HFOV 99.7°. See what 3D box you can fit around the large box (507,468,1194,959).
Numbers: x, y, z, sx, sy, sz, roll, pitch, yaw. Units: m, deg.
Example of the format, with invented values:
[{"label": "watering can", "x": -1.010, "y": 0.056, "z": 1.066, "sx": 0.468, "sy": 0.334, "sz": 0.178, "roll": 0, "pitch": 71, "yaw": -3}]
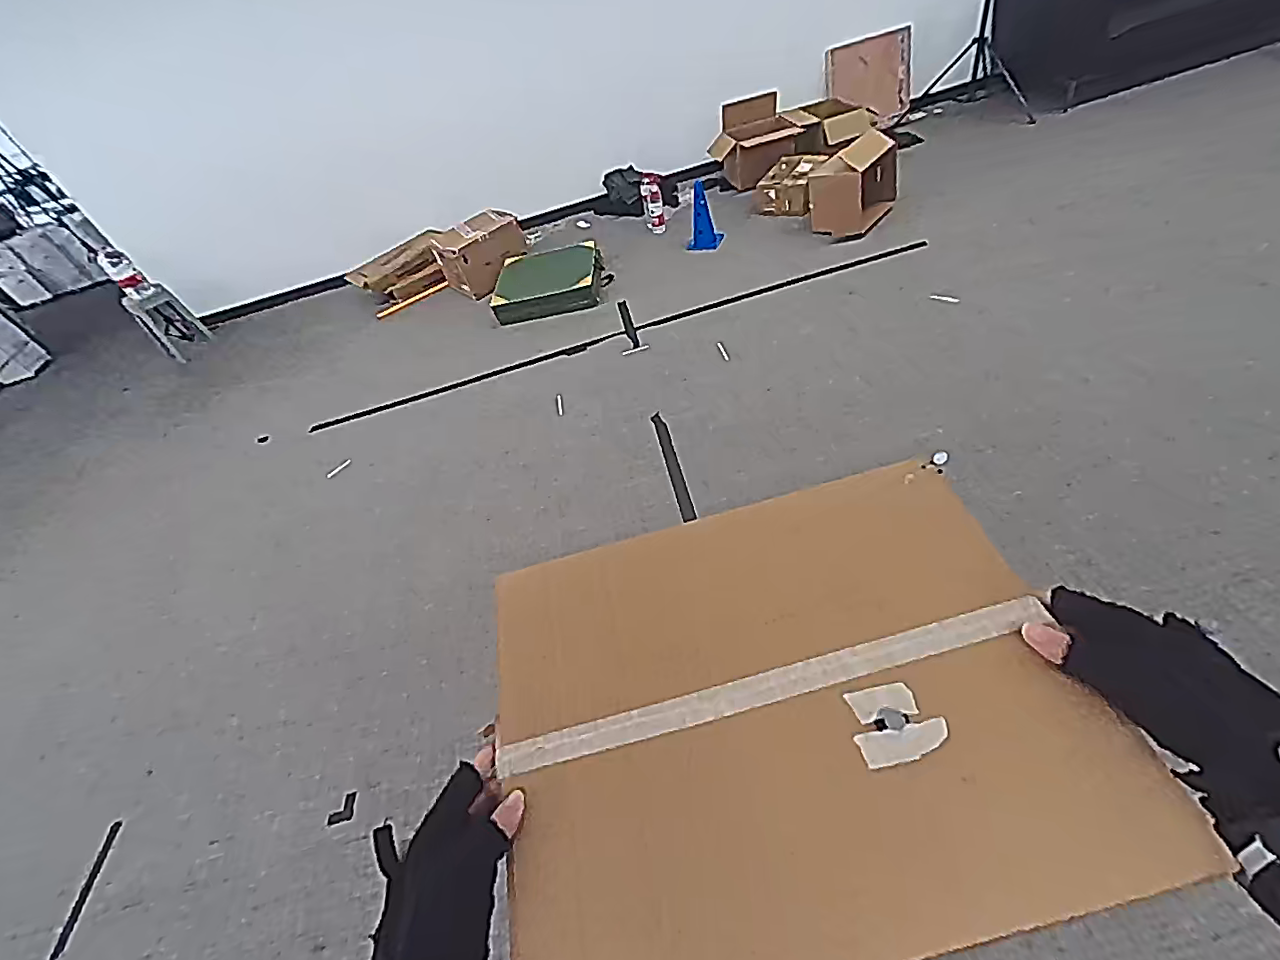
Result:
[{"label": "large box", "x": 0.124, "y": 0.248, "z": 0.517, "sx": 0.408, "sy": 0.320, "sz": 0.320, "roll": -16, "pitch": 51, "yaw": 0}]
